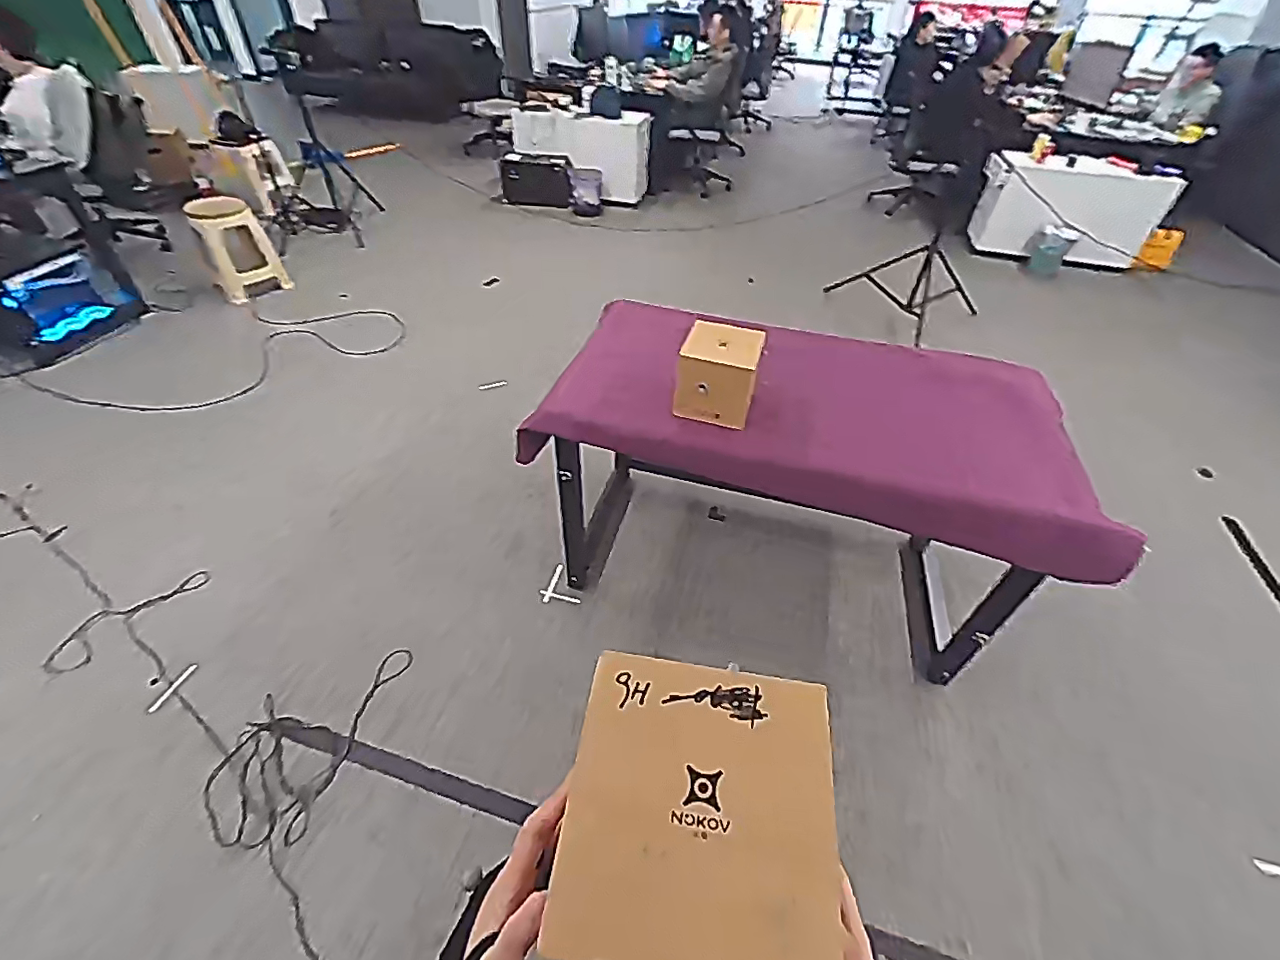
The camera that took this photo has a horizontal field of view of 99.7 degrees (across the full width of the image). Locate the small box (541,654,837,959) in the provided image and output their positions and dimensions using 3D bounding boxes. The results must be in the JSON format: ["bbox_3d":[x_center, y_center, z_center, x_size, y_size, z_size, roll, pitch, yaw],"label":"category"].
[{"bbox_3d":[0.039,0.256,0.403,0.168,0.176,0.179,8,51,6],"label":"small box"}]

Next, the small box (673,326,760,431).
[{"bbox_3d":[0.177,-0.237,1.271,0.168,0.176,0.179,13,44,10],"label":"small box"}]
